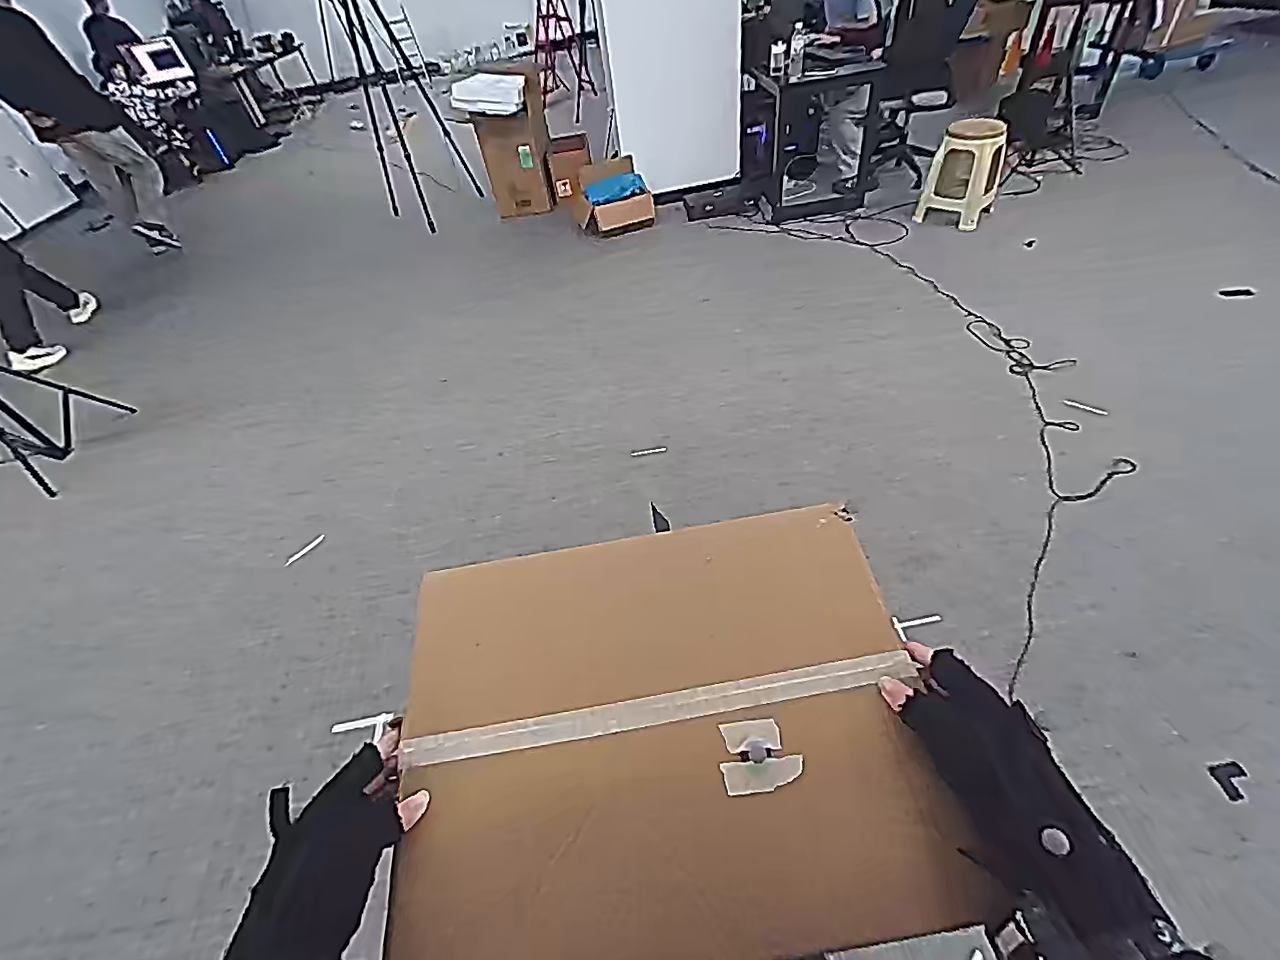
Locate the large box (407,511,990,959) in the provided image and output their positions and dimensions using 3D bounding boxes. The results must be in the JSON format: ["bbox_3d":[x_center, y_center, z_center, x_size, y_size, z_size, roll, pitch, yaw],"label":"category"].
[{"bbox_3d":[0.031,0.274,0.561,0.408,0.320,0.320,-10,55,0],"label":"large box"}]
